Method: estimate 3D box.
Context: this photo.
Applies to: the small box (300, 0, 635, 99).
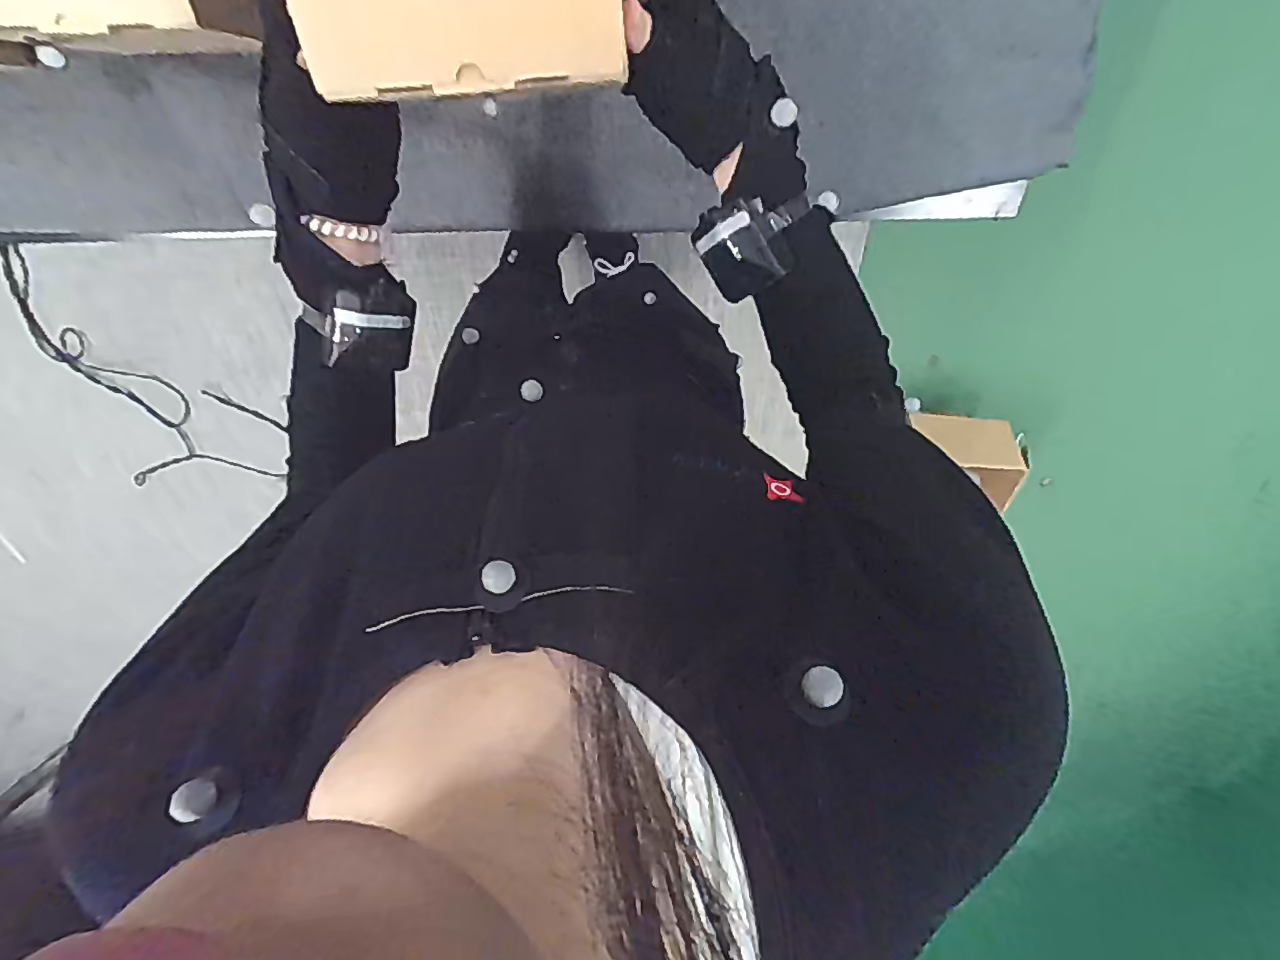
[{"bbox_3d":[-0.094,-0.328,0.306,0.168,0.176,0.179,-5,126,-1],"label":"small box"}]
